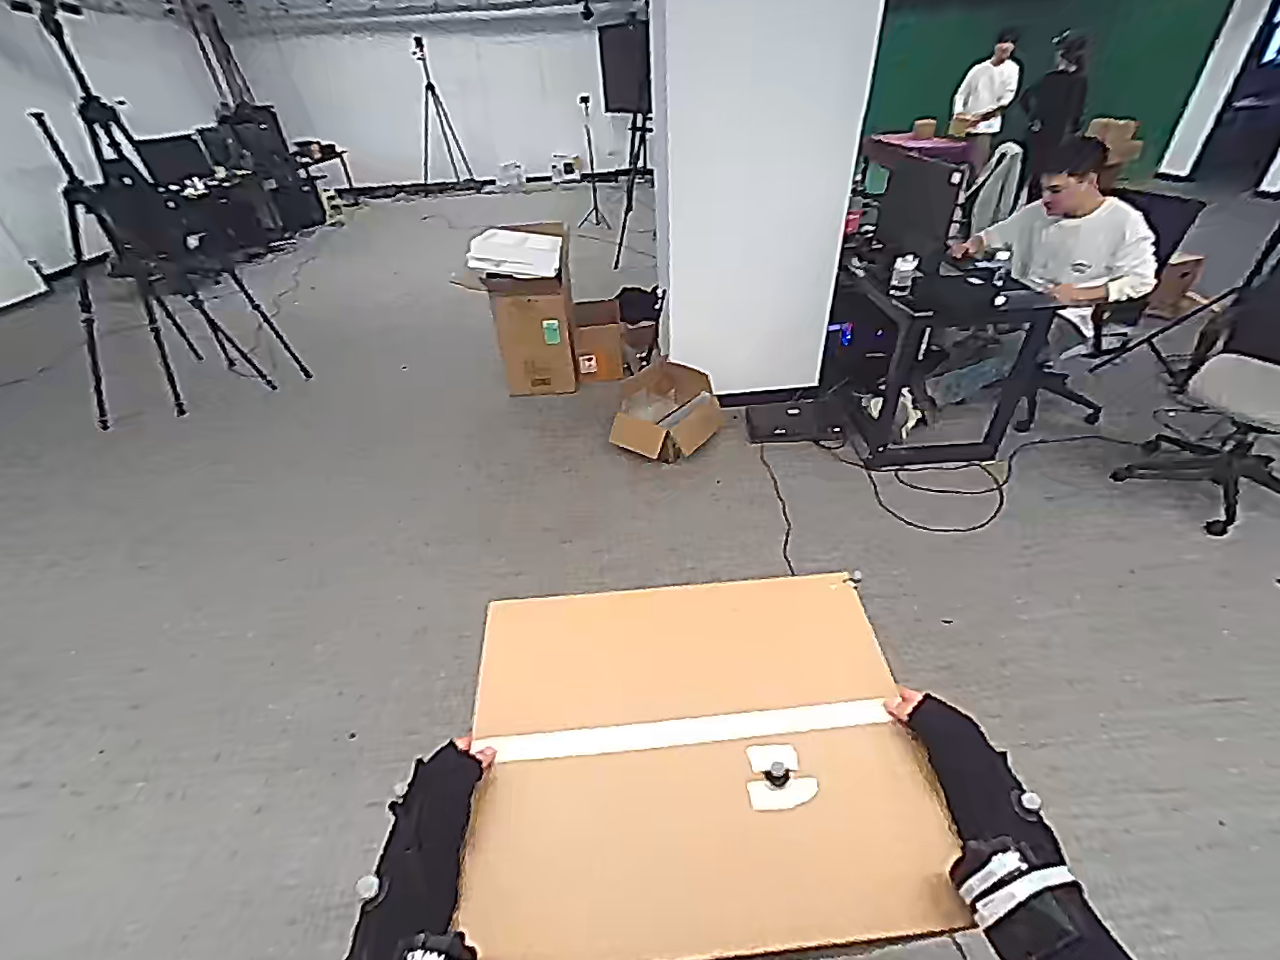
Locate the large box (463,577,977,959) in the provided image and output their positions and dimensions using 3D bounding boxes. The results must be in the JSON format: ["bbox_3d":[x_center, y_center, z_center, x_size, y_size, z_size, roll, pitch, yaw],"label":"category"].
[{"bbox_3d":[0.051,0.339,0.612,0.408,0.320,0.320,-4,46,-3],"label":"large box"}]
